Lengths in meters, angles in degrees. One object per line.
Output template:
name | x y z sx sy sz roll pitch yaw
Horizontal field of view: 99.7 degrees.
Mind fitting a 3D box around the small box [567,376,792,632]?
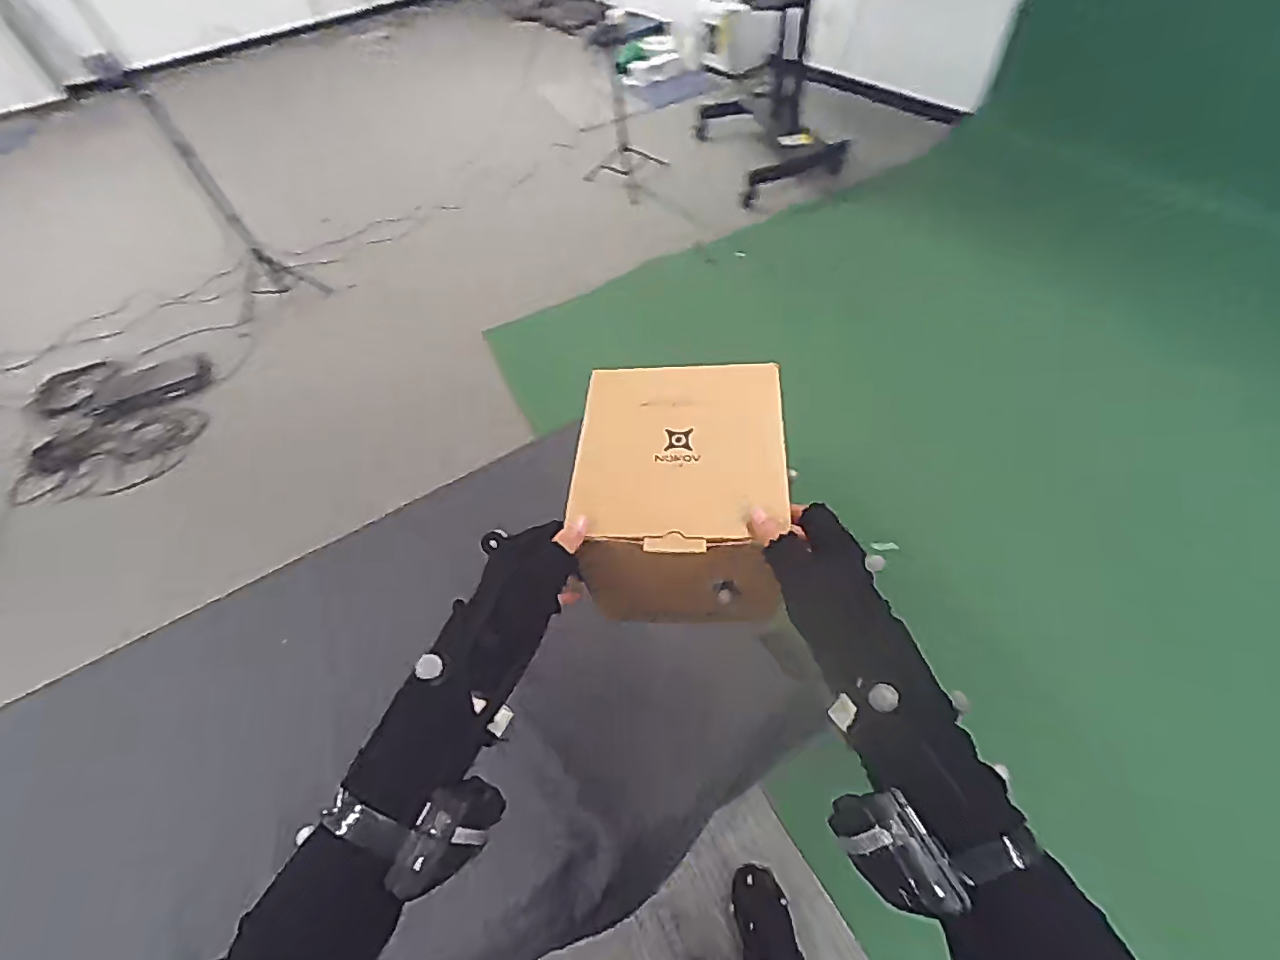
small box | 0.044 0.028 0.495 0.168 0.176 0.179 0 54 8
